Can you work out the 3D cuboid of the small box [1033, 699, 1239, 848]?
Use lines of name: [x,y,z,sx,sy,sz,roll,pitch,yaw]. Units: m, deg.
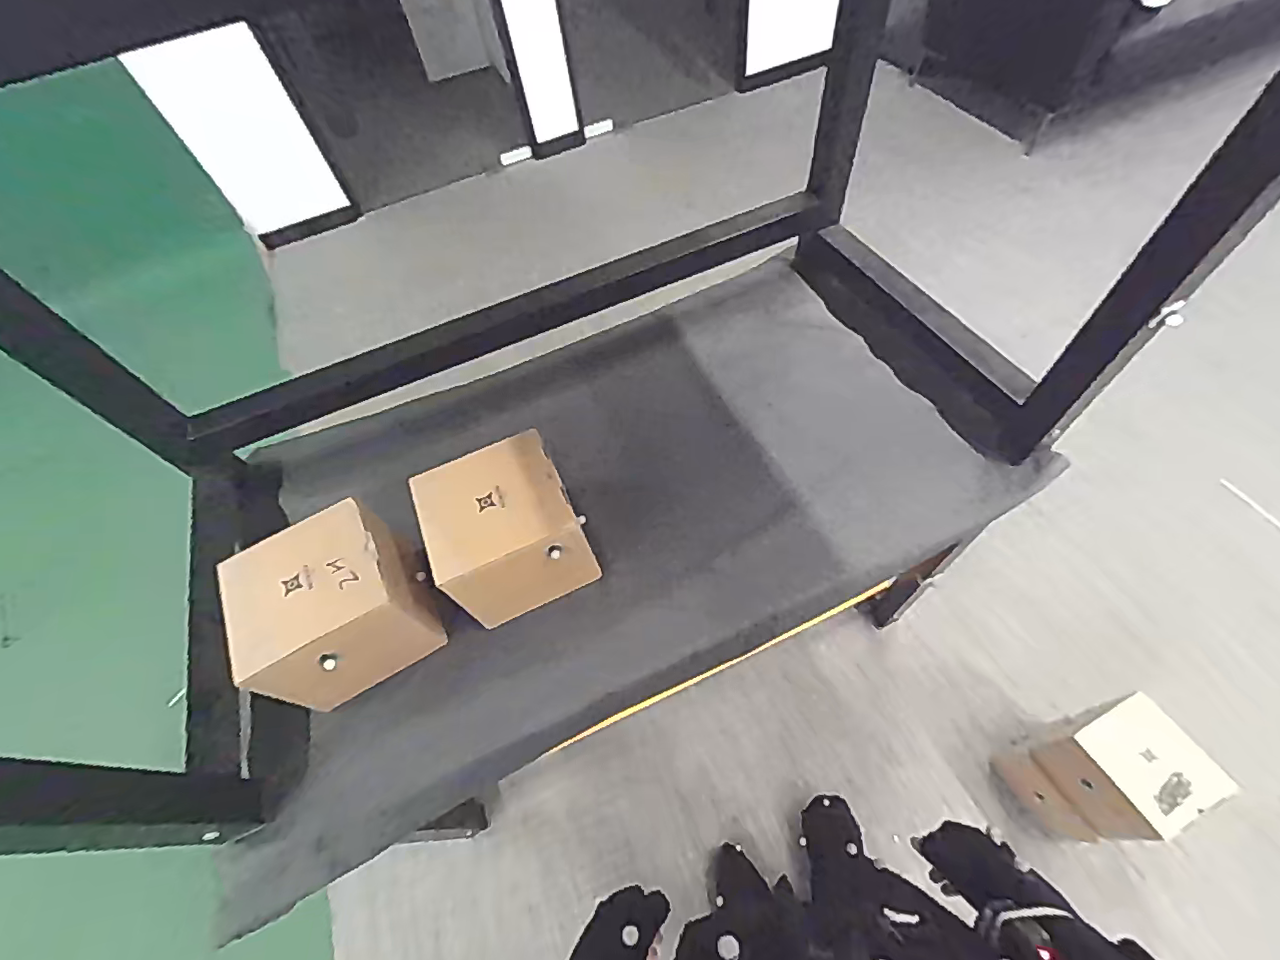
small box: [0.872,0.527,0.974,0.168,0.176,0.179,-25,57,-9]
